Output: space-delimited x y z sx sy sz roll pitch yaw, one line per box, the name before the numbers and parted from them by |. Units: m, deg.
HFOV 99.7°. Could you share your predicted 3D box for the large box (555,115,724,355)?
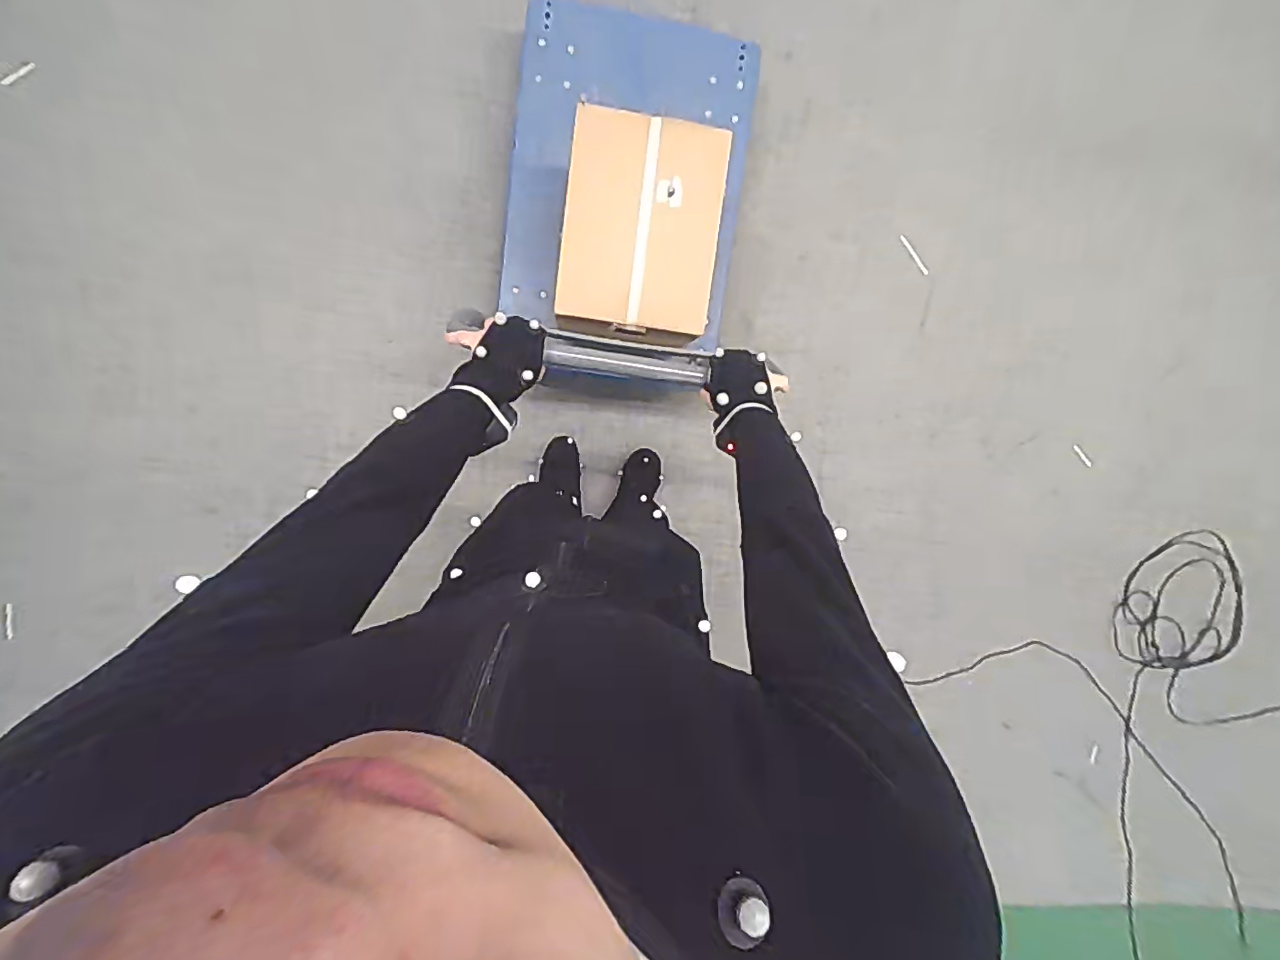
large box | -0.016 -0.519 1.239 0.320 0.320 0.408 6 95 -7
